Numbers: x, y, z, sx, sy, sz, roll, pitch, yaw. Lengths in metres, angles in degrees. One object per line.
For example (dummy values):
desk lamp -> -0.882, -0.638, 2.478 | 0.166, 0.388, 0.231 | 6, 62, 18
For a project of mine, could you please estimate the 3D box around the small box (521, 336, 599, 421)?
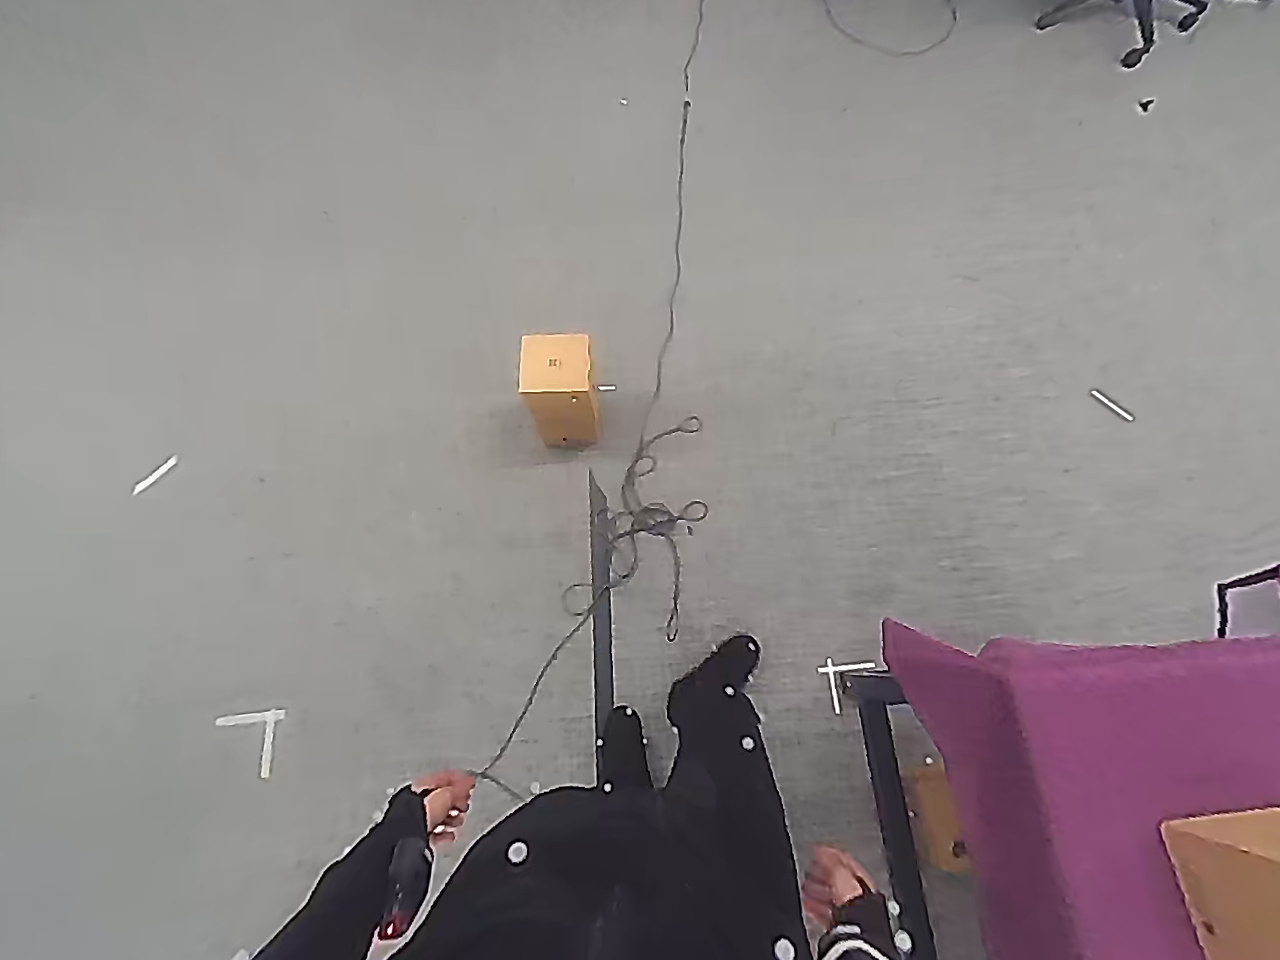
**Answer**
small box -> -0.205, -0.263, 1.429 | 0.179, 0.176, 0.168 | -1, 71, 0

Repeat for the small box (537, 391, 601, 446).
small box -> -0.205, -0.212, 1.583 | 0.168, 0.176, 0.179 | -3, 72, 0

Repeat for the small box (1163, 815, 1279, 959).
small box -> 0.747, 0.481, 0.584 | 0.179, 0.176, 0.168 | -5, 72, -2
